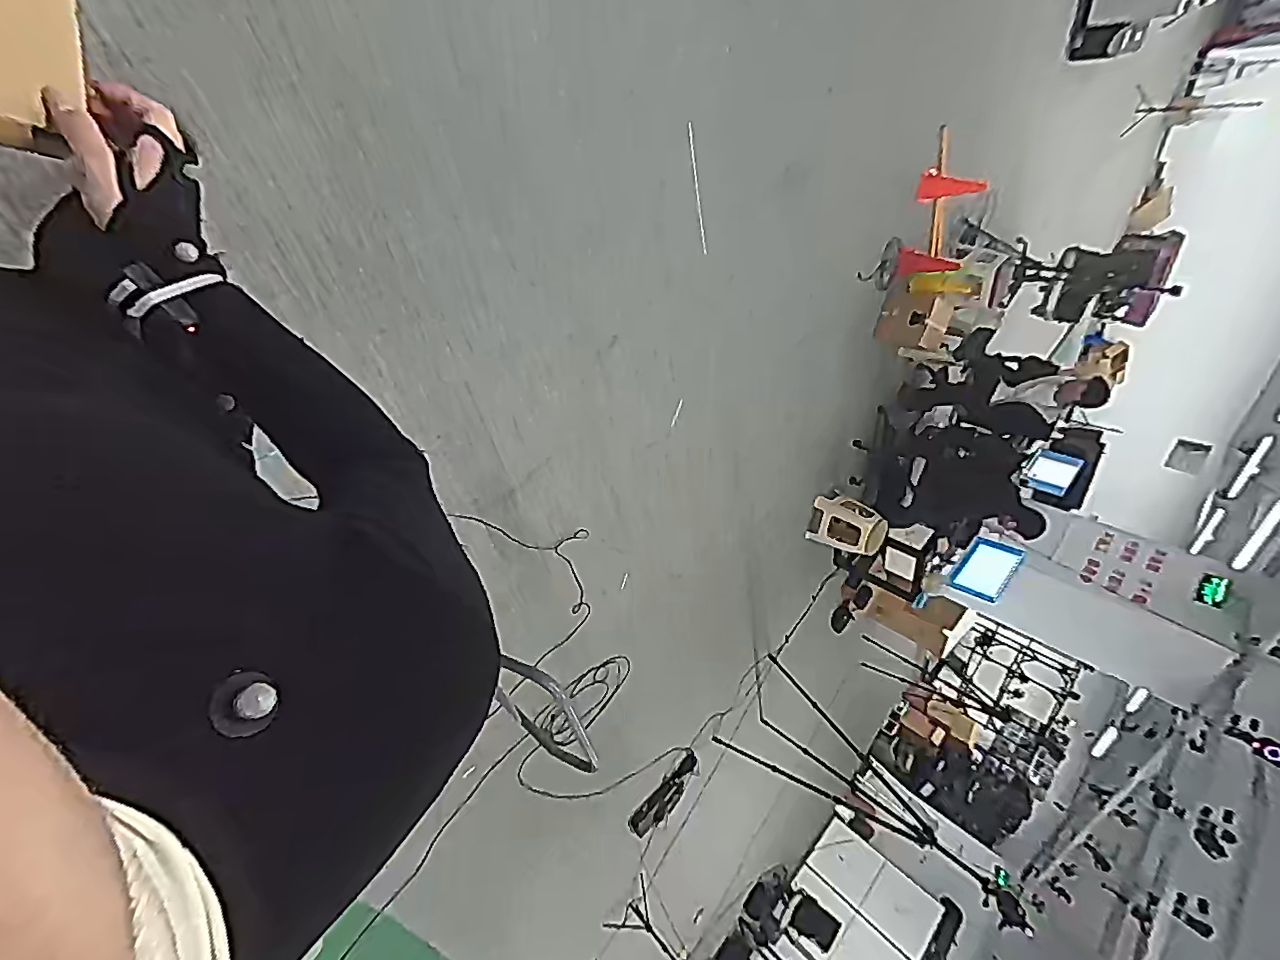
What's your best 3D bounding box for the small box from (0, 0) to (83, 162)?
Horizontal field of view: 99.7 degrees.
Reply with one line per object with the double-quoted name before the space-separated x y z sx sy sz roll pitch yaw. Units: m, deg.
"small box" -0.533 -0.363 0.394 0.168 0.176 0.179 2 105 -50
